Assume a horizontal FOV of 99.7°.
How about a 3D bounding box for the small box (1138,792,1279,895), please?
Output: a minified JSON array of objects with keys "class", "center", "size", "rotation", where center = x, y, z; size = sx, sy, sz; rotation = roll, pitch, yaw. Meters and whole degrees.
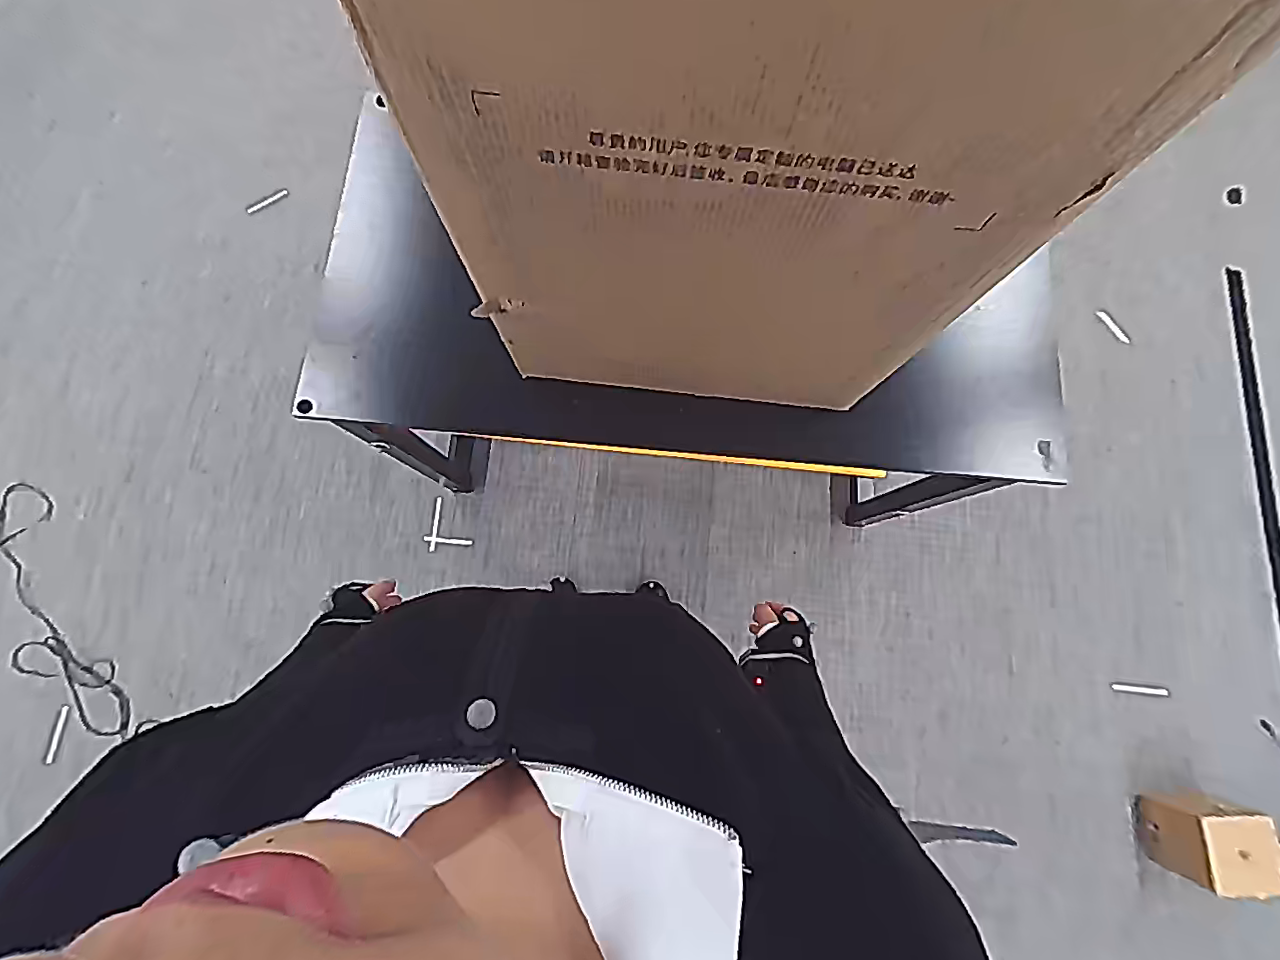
[{"class":"small box","center":[1.402,0.887,1.335],"size":[0.179,0.176,0.168],"rotation":[-2,78,0]}]
